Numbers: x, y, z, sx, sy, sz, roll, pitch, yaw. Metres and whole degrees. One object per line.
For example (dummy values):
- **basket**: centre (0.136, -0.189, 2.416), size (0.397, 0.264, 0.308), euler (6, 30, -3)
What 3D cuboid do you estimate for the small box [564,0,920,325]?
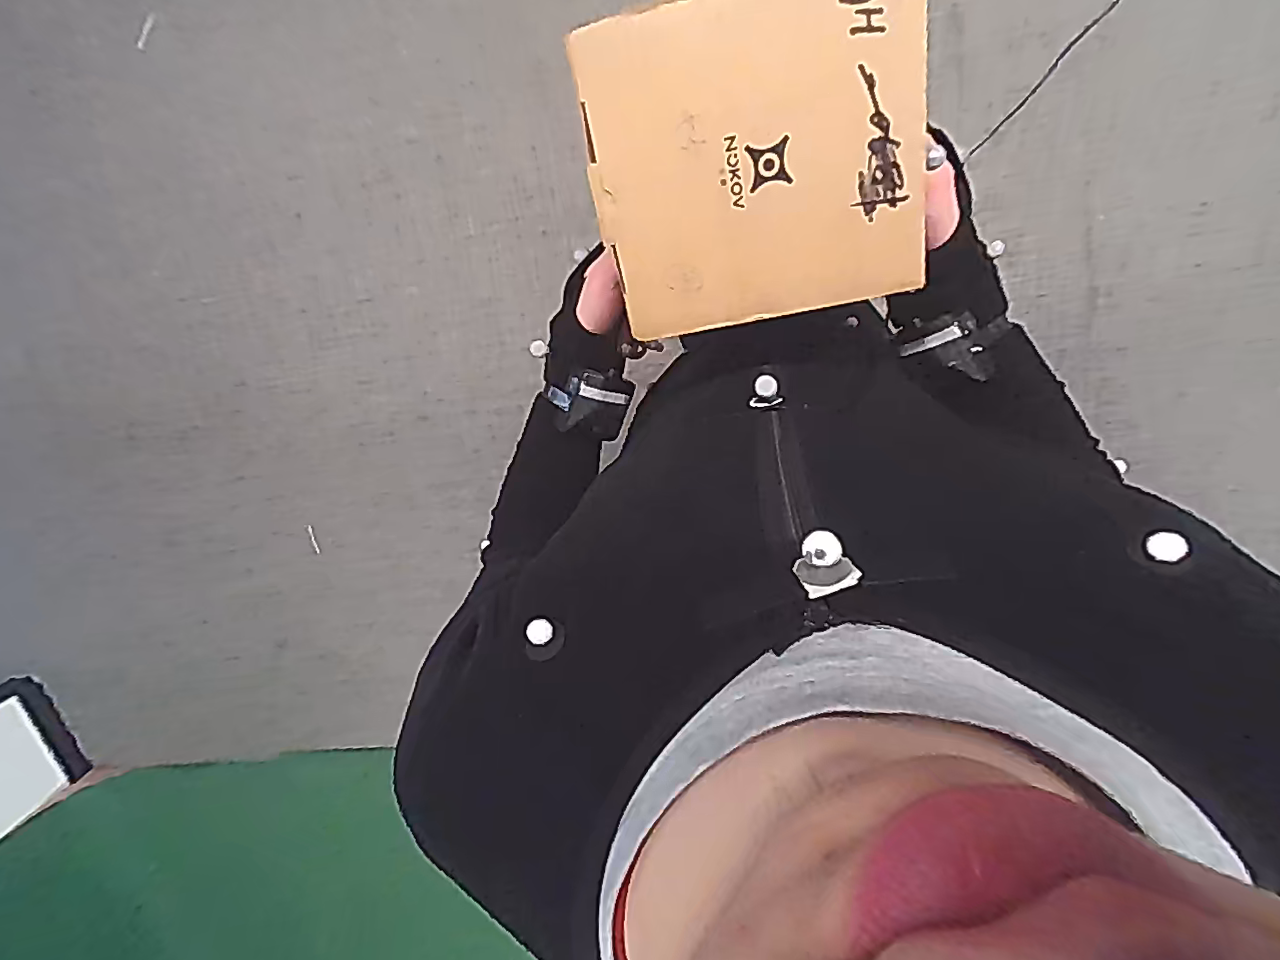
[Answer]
- **small box**: centre (0.073, -0.215, 0.364), size (0.179, 0.176, 0.168), euler (-6, 117, 15)
